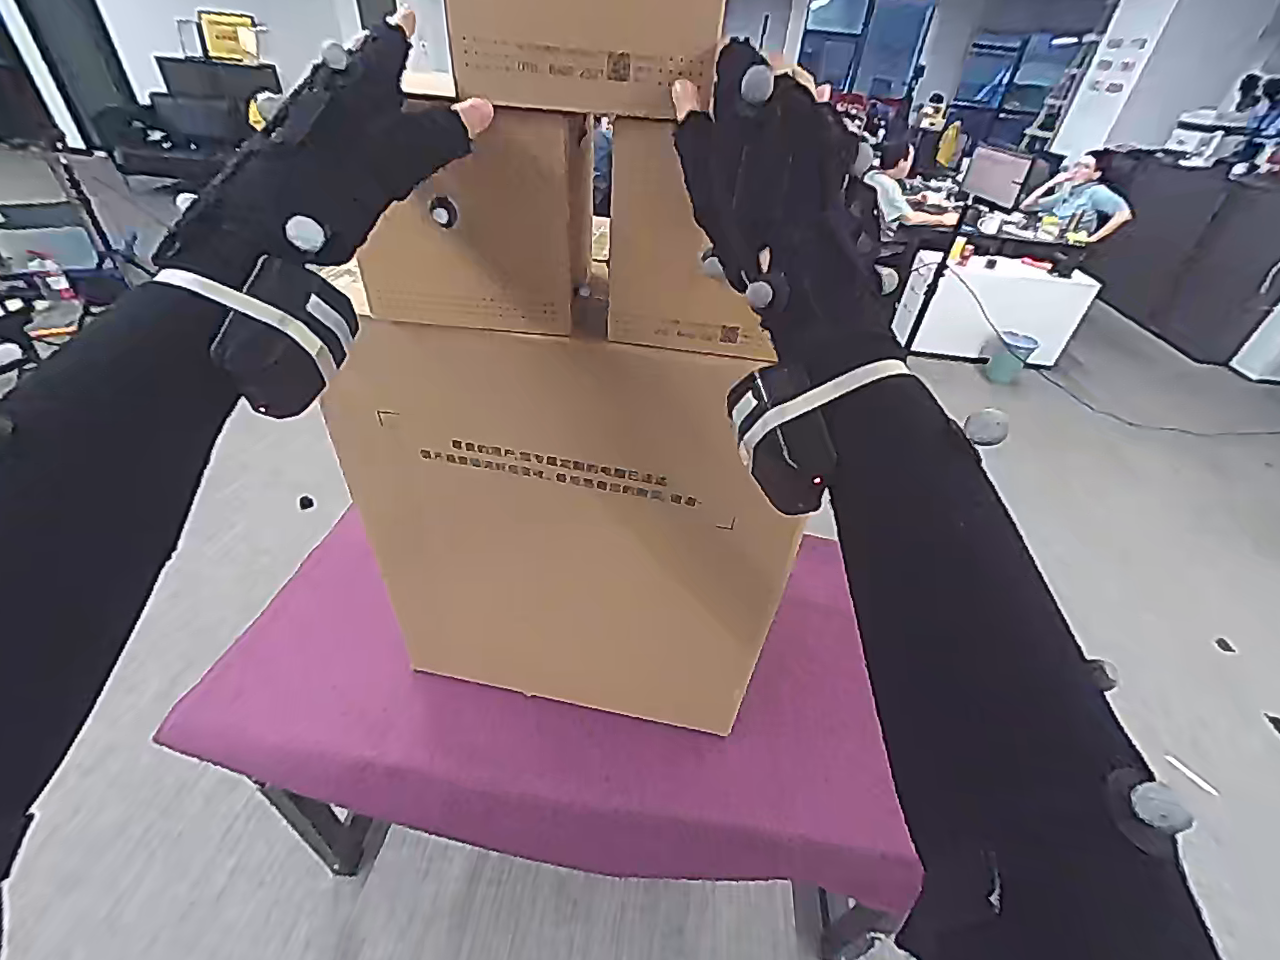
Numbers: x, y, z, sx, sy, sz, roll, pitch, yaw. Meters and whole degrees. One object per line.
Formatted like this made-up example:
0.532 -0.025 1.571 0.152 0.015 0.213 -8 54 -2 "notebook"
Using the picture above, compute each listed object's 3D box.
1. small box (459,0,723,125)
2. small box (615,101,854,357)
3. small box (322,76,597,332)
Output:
-0.029 -0.356 0.374 0.168 0.176 0.179 3 38 -4 "small box"
0.072 -0.226 0.481 0.168 0.176 0.179 8 40 4 "small box"
-0.134 -0.245 0.483 0.179 0.176 0.168 4 39 0 "small box"
